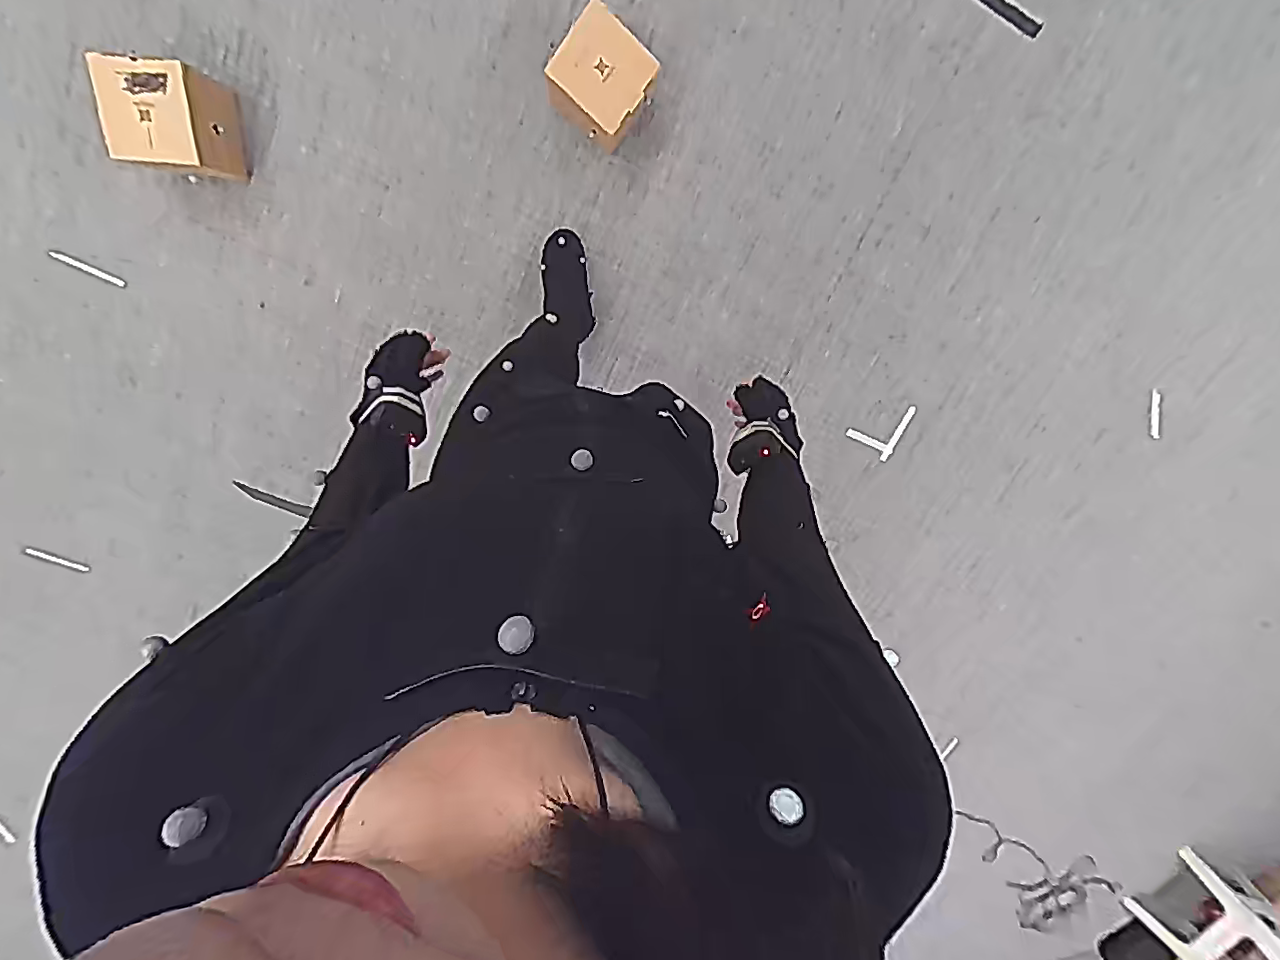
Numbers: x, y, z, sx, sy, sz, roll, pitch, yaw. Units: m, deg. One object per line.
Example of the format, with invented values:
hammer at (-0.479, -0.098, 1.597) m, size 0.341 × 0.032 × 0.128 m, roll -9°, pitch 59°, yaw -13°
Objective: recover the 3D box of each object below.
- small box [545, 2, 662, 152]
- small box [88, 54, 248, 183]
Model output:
small box at (-0.078, -0.833, 1.146) m, size 0.179 × 0.176 × 0.168 m, roll 36°, pitch 101°, yaw -15°
small box at (-0.943, -0.722, 1.099) m, size 0.168 × 0.176 × 0.179 m, roll 2°, pitch 110°, yaw -6°
